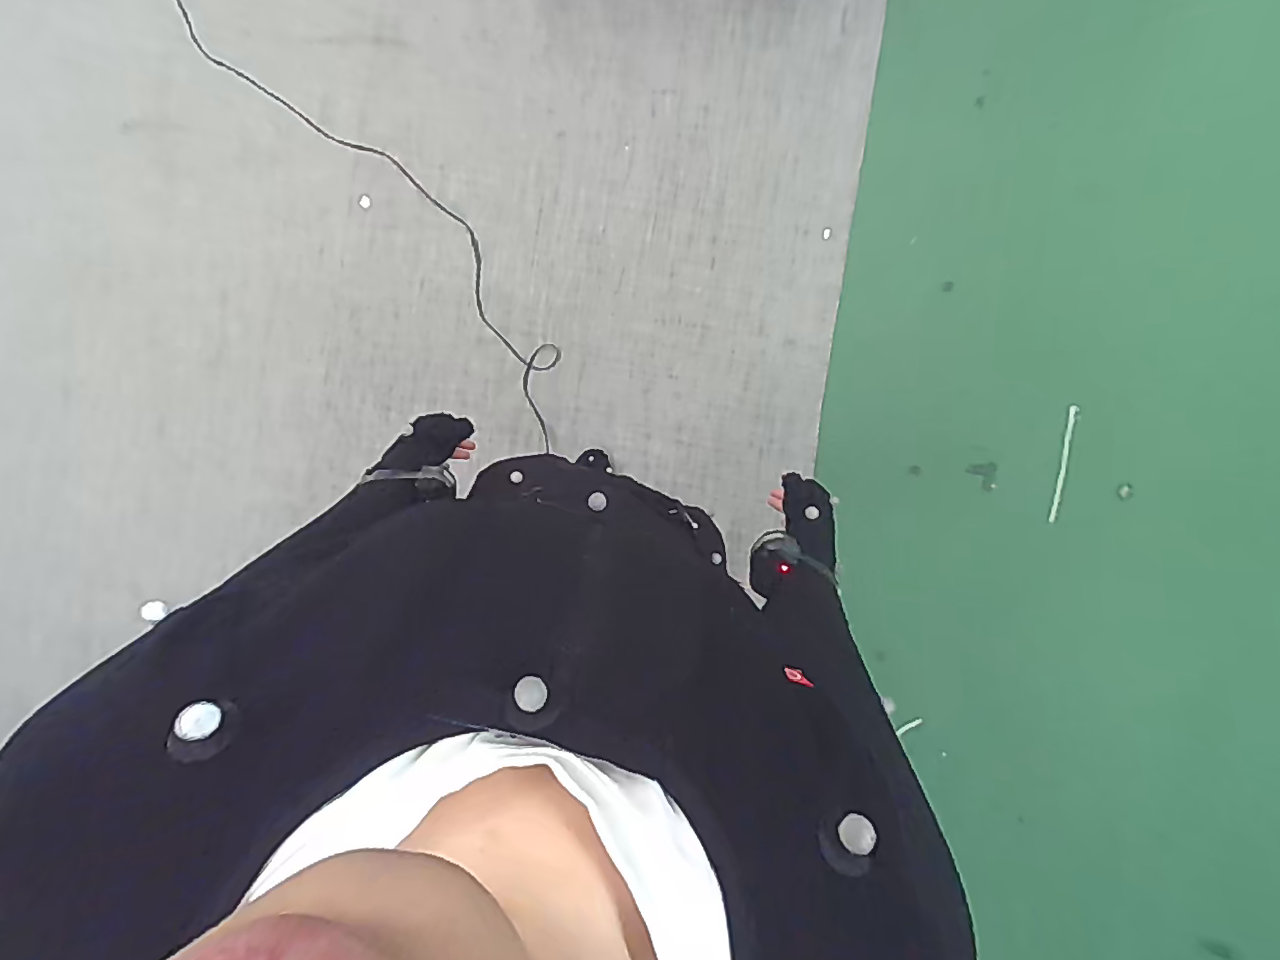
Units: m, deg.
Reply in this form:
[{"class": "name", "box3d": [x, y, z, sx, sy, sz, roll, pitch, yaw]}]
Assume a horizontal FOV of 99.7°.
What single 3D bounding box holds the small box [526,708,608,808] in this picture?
[{"class": "small box", "box3d": [-0.176, 0.684, 1.346, 0.179, 0.176, 0.168, -1, 92, 2]}]
